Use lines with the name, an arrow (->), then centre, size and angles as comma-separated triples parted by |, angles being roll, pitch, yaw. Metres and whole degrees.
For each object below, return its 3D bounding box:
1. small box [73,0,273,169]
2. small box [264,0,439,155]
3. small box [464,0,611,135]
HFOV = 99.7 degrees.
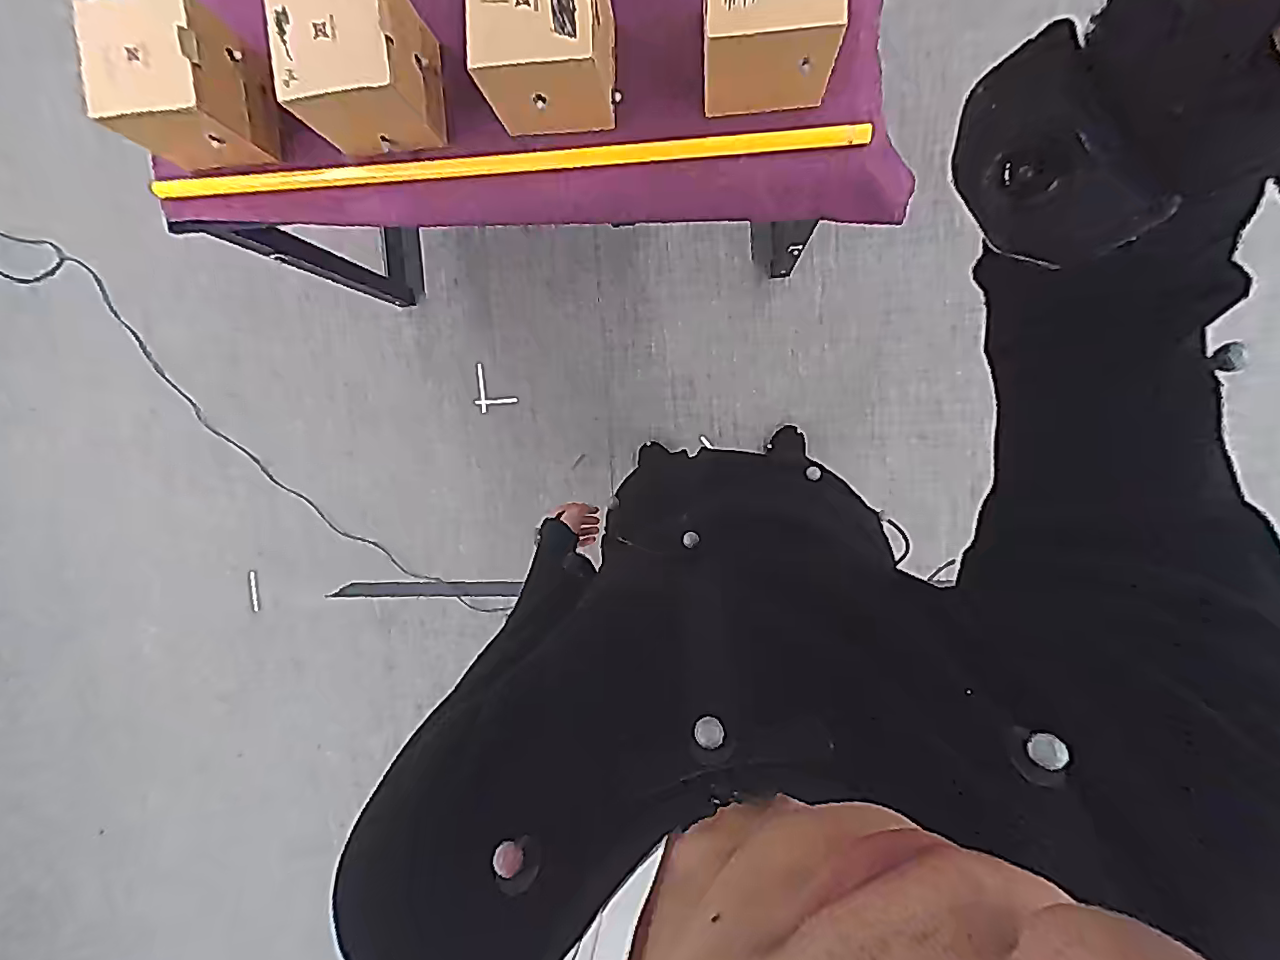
small box -> -0.716, -0.619, 0.853 | 0.179, 0.176, 0.168 | -2, 95, 4
small box -> -0.422, -0.624, 0.821 | 0.179, 0.176, 0.168 | -3, 95, 6
small box -> -0.139, -0.635, 0.787 | 0.179, 0.176, 0.168 | 1, 94, 8
